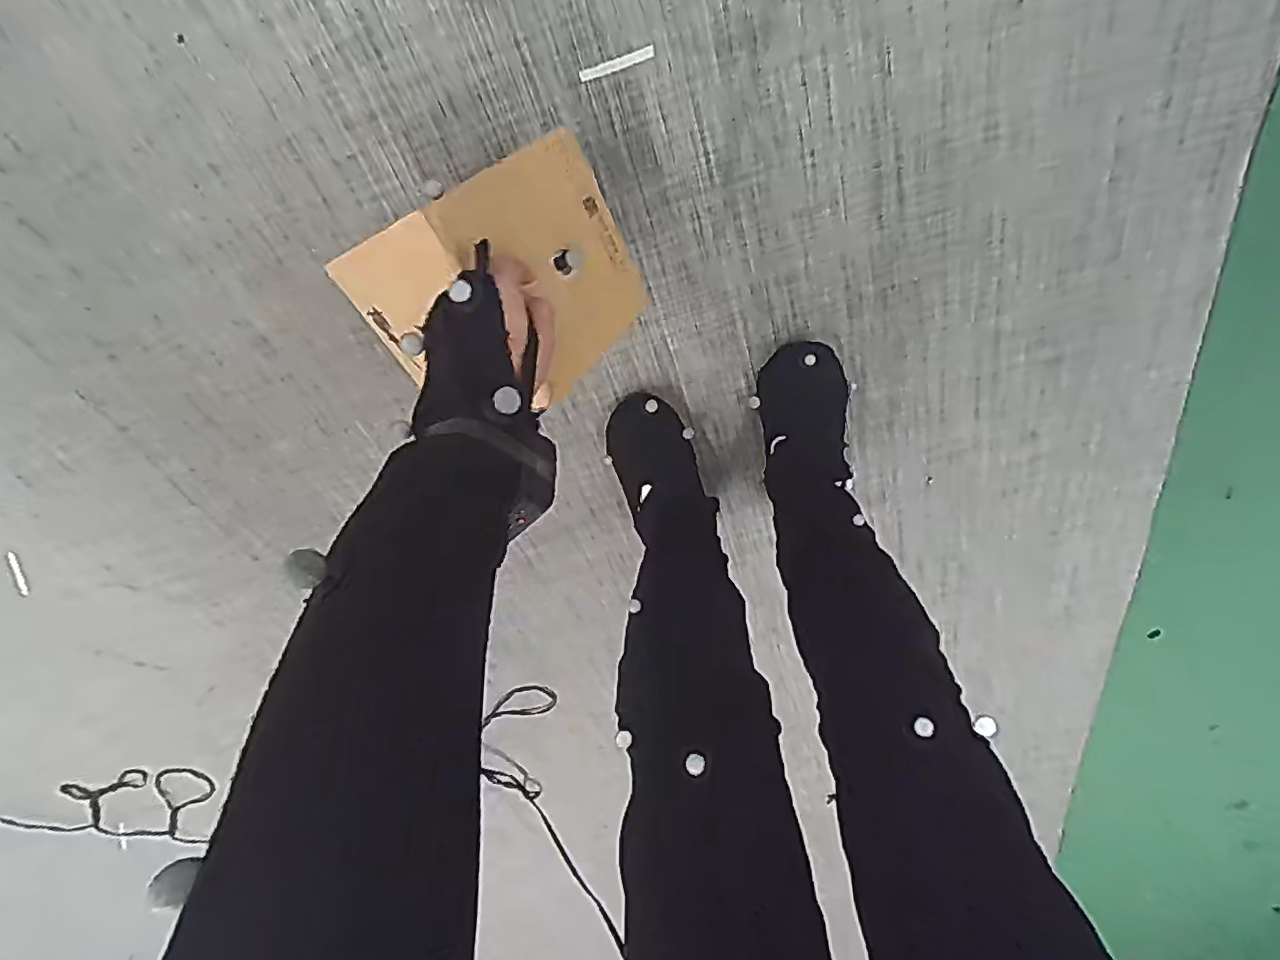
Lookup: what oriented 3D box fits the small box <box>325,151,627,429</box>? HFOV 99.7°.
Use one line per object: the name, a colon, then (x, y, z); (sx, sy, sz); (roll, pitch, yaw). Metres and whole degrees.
small box: (-0.133, -0.167, 0.498); (0.179, 0.176, 0.168); (0, 135, 38)
